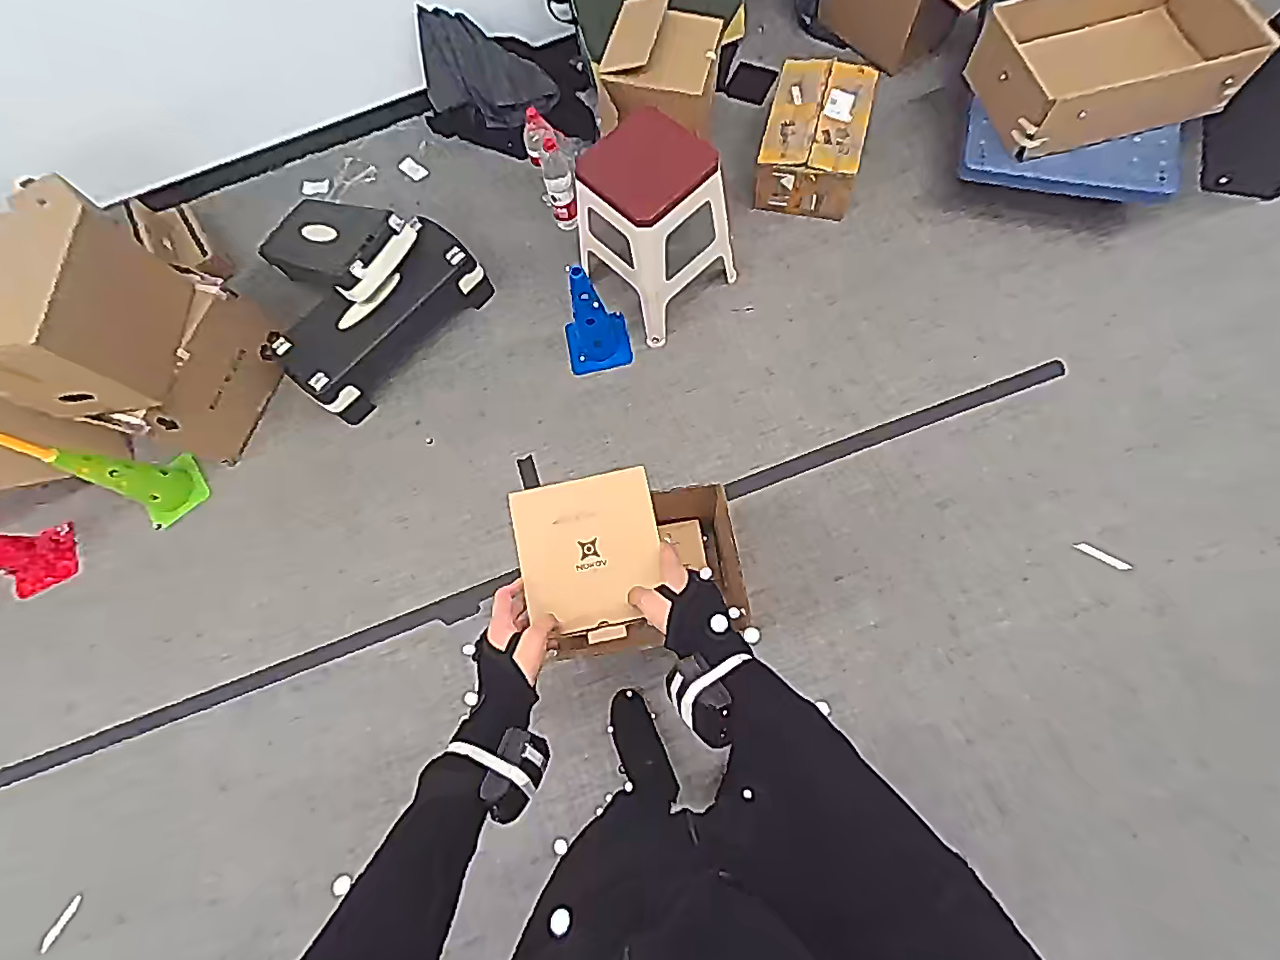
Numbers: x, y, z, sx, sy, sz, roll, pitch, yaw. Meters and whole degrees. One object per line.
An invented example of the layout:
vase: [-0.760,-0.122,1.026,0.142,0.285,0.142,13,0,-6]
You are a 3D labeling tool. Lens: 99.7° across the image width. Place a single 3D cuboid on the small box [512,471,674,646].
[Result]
small box: [-0.051,0.099,0.693,0.168,0.176,0.179,-11,80,0]
